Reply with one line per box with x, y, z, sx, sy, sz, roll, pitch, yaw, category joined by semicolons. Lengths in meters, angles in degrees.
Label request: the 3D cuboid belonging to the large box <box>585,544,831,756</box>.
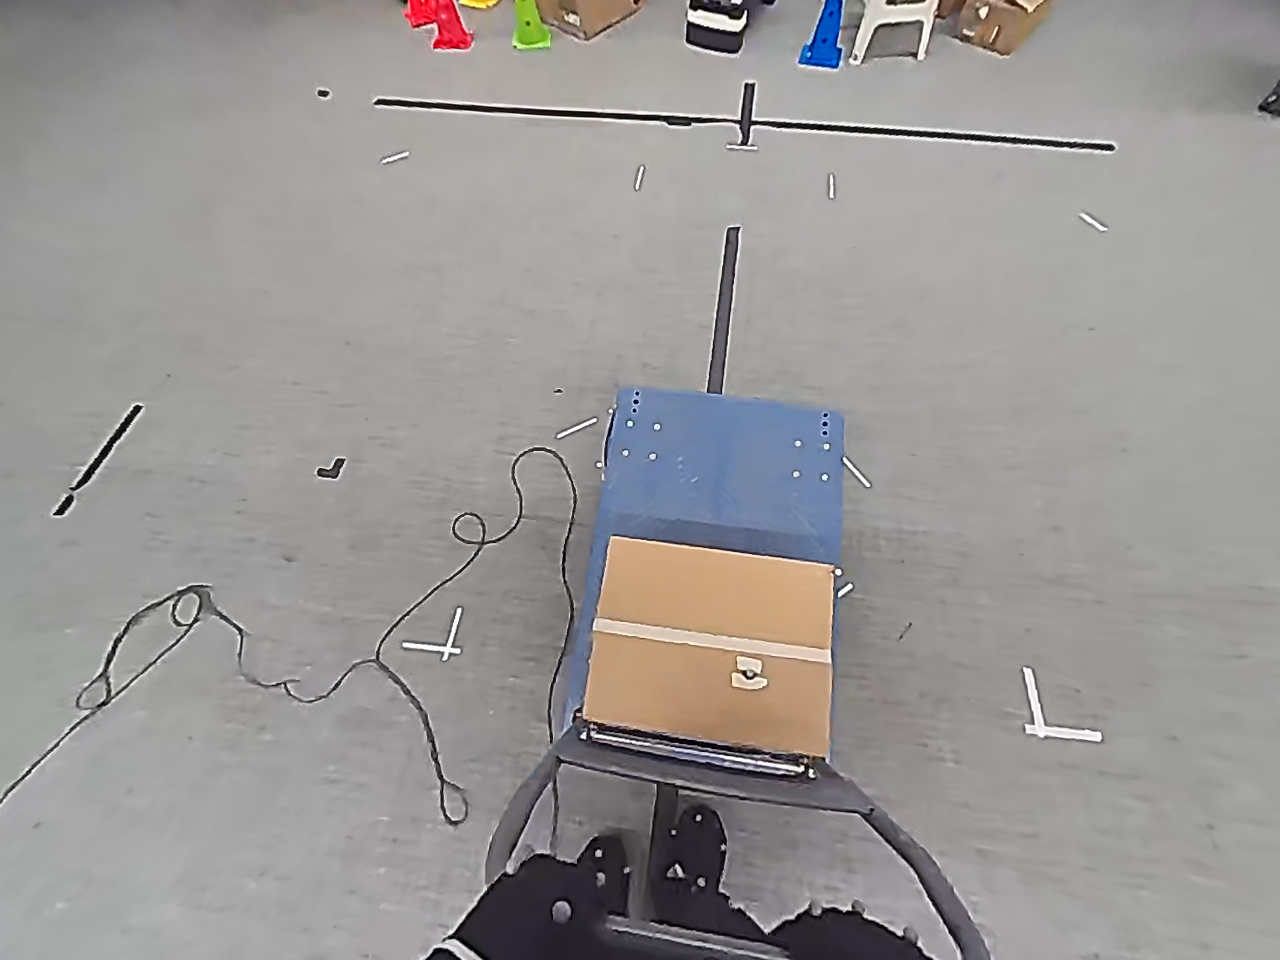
0.123;0.323;1.061;0.408;0.320;0.320;7;74;3;large box
